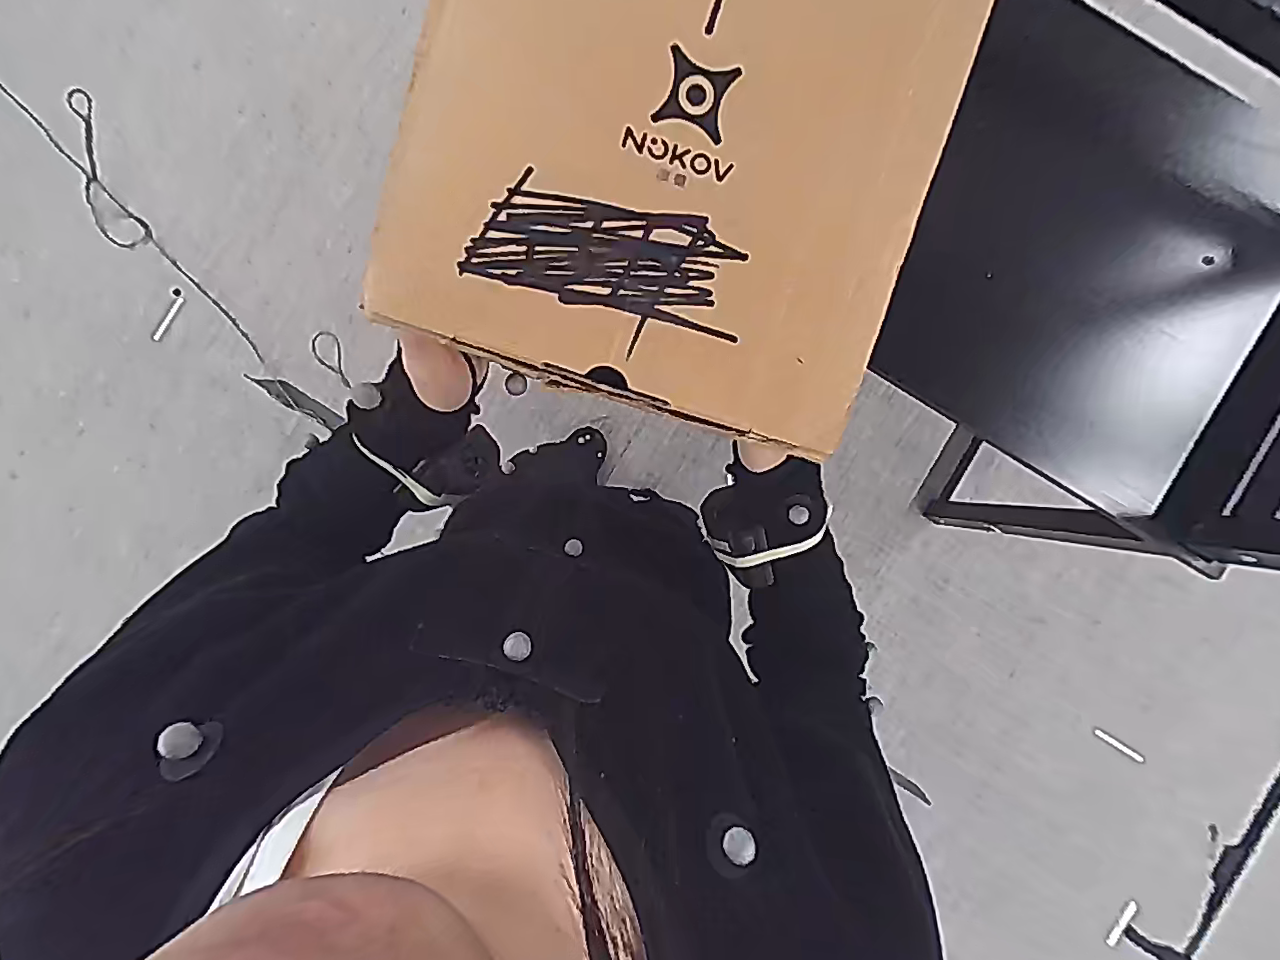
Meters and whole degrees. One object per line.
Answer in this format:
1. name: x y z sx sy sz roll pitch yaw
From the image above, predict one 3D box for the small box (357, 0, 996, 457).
1. small box: 0.008 -0.123 0.246 0.168 0.176 0.179 17 96 -6
